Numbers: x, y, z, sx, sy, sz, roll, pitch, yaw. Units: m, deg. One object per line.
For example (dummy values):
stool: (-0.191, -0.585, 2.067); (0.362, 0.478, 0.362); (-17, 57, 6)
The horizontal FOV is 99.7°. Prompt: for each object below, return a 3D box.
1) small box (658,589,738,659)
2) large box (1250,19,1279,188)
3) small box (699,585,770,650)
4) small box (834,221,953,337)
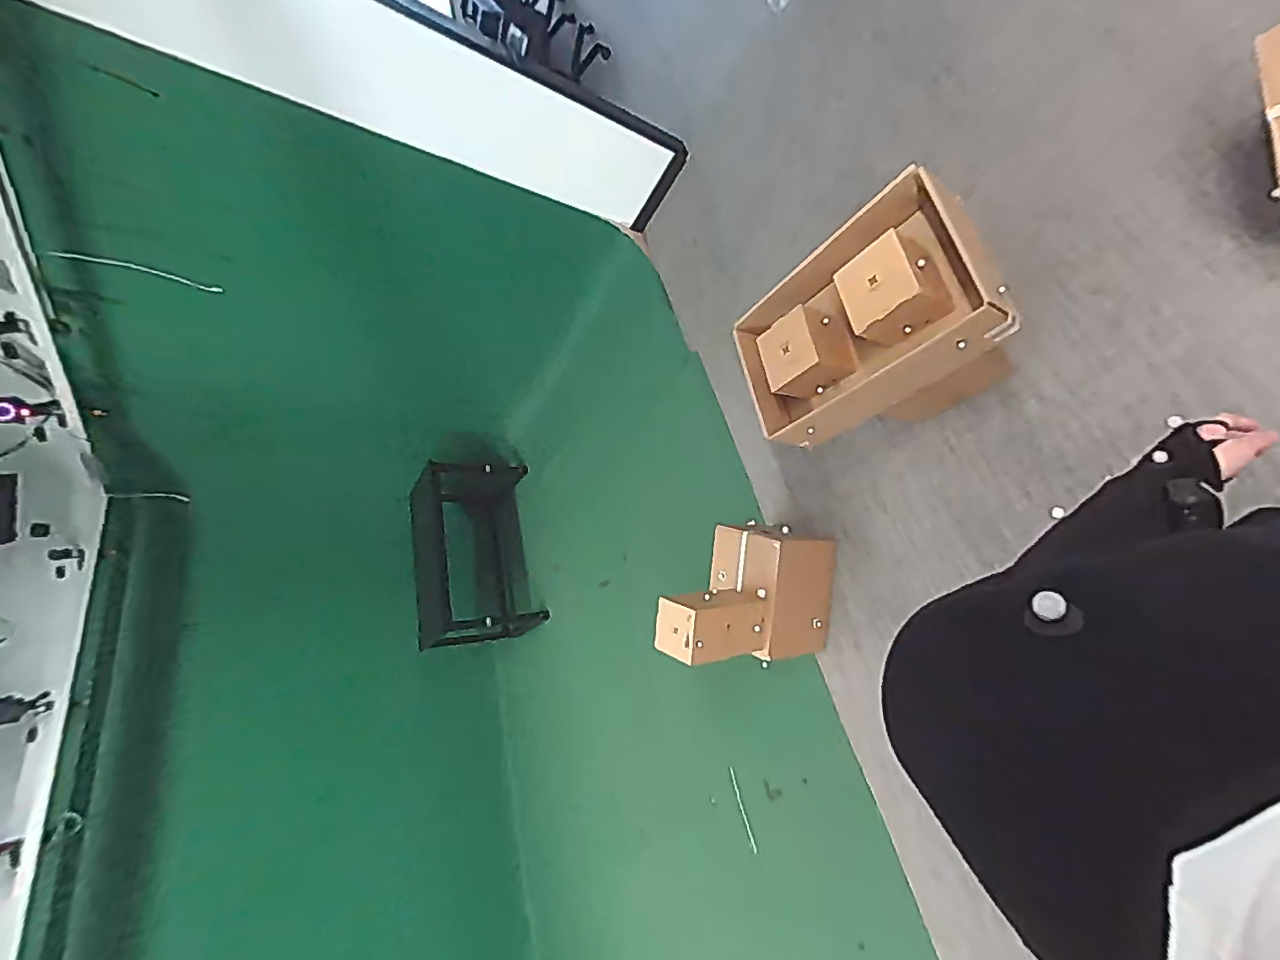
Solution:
small box: (0.181, 0.444, 1.697); (0.179, 0.176, 0.168); (7, 94, 54)
large box: (1.327, -0.664, 0.866); (0.408, 0.320, 0.320); (-12, 78, 55)
small box: (0.307, 0.450, 1.802); (0.179, 0.176, 0.168); (8, 95, 53)
small box: (0.596, -0.463, 1.274); (0.168, 0.176, 0.179); (-34, 62, 48)
